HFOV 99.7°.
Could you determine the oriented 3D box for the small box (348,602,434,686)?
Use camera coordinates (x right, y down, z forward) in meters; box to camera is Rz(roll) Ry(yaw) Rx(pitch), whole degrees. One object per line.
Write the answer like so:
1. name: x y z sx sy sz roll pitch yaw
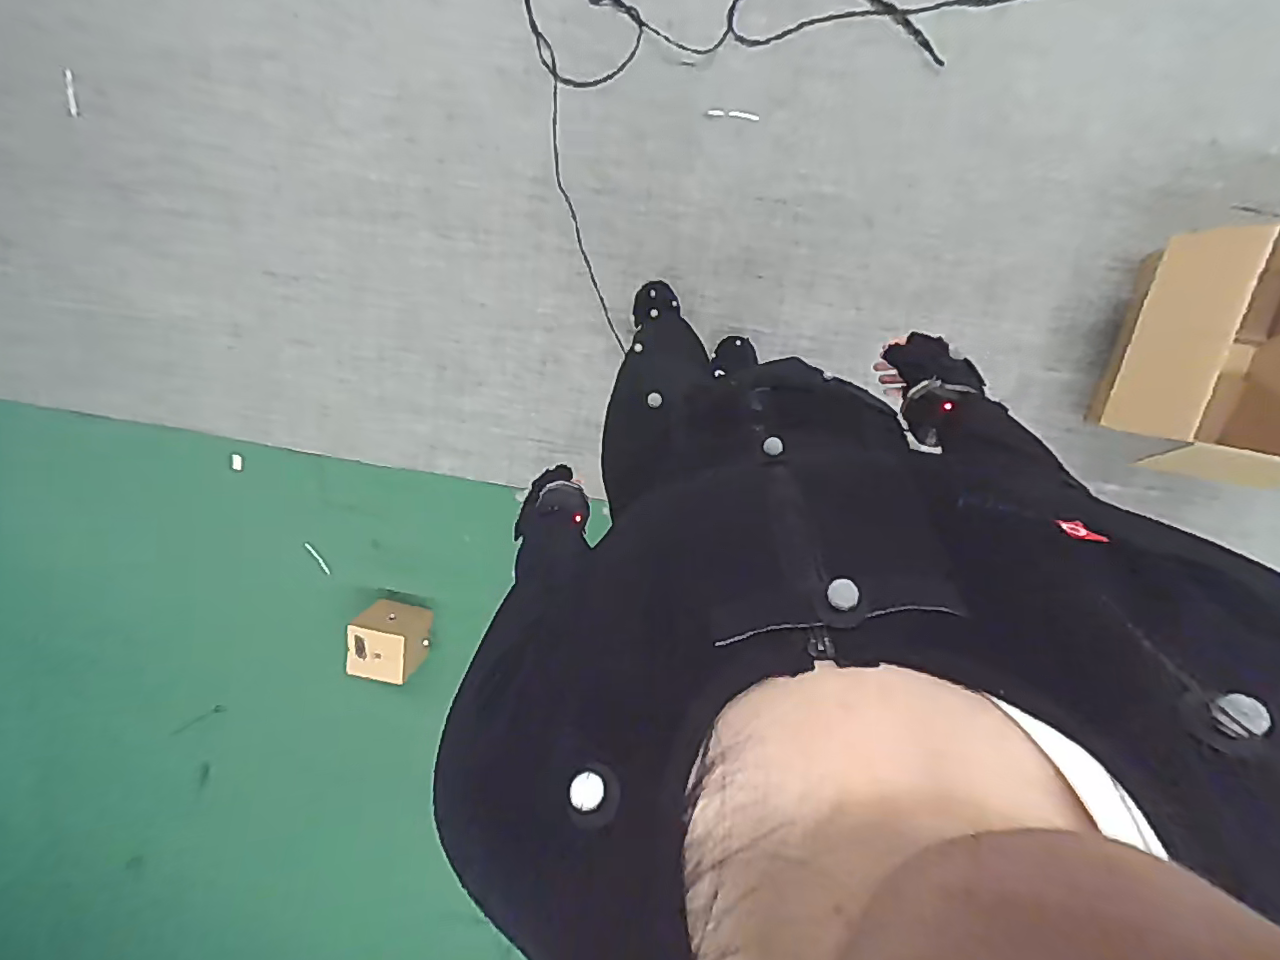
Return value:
1. small box: -0.752 0.489 1.640 0.179 0.176 0.168 11 106 4
